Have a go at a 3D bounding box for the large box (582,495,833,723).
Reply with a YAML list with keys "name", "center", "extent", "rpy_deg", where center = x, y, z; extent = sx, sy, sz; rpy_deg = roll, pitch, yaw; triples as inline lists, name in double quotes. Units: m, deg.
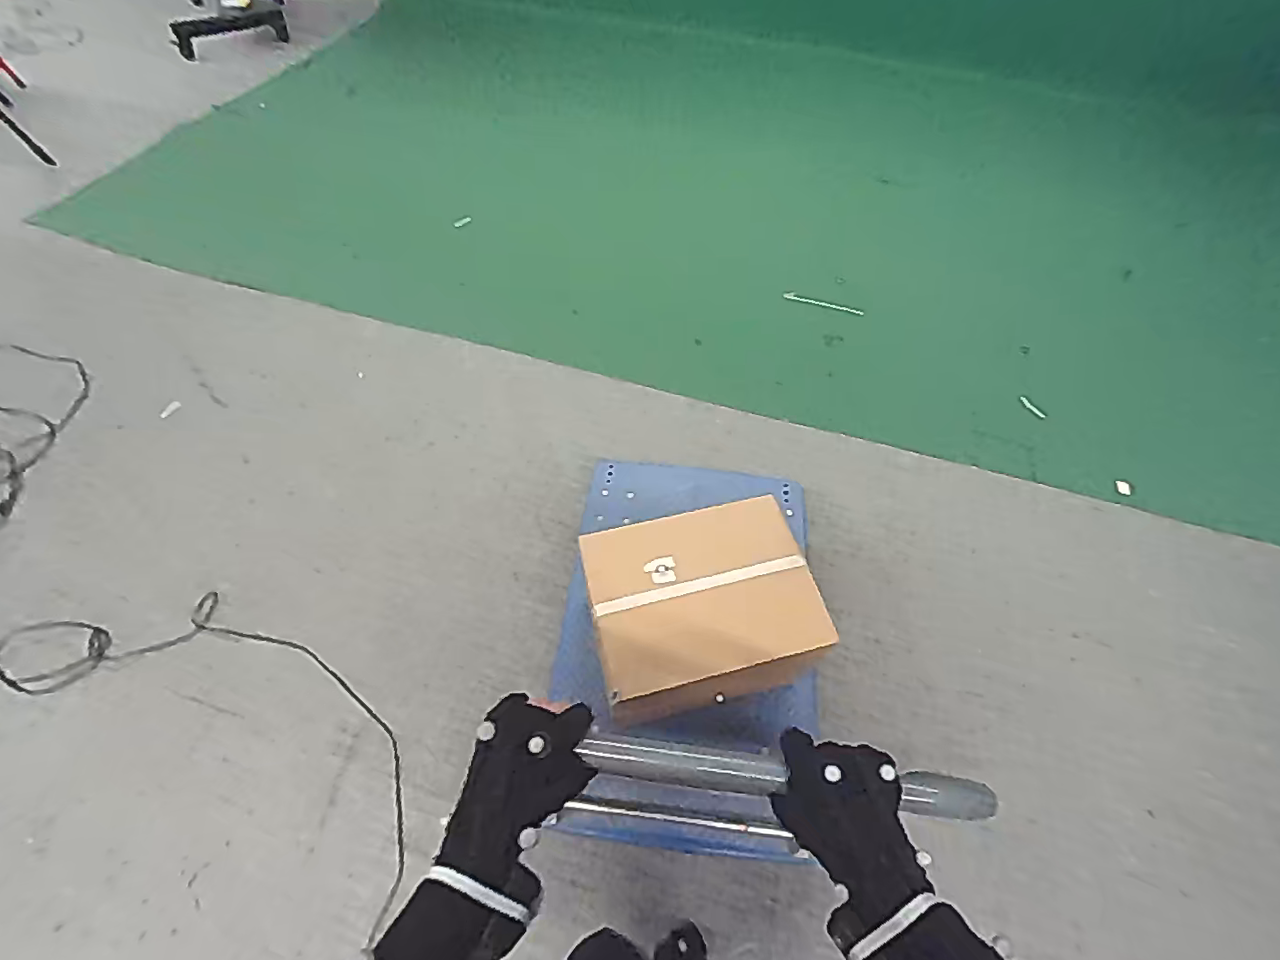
- name: "large box"
  center: [0.116, 0.275, 1.129]
  extent: [0.408, 0.320, 0.320]
  rpy_deg: [-13, 58, -8]
